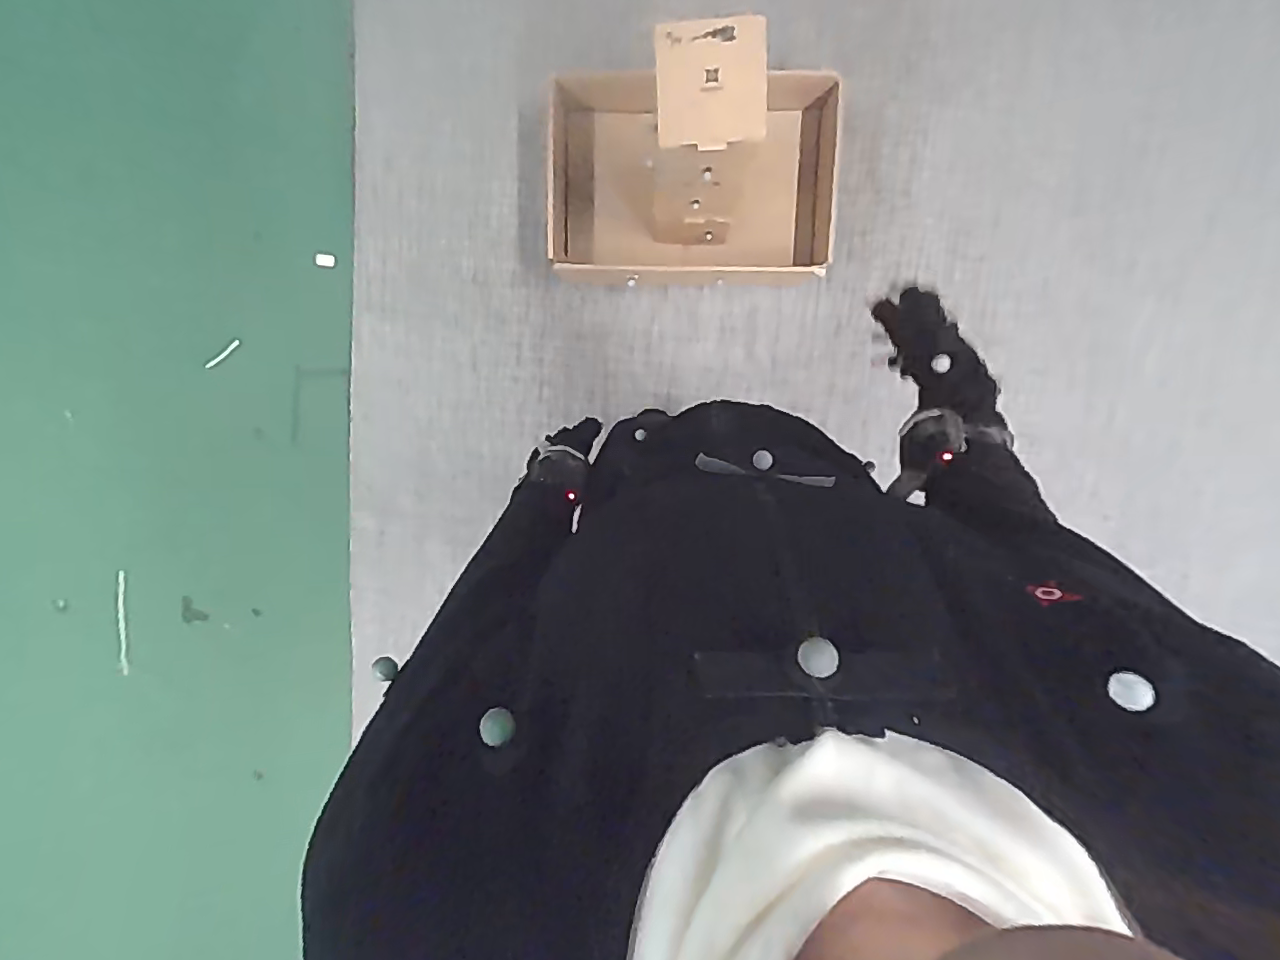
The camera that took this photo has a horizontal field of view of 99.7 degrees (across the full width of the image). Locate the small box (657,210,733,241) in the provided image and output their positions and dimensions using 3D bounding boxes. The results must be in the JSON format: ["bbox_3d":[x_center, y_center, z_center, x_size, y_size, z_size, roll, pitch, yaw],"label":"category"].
[{"bbox_3d":[0.125,-0.650,1.214,0.168,0.176,0.179,3,97,2],"label":"small box"}]

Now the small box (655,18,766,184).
[{"bbox_3d":[0.110,-0.606,0.891,0.168,0.176,0.179,-1,98,3],"label":"small box"}]

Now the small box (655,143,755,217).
[{"bbox_3d":[0.121,-0.626,1.053,0.179,0.176,0.168,-2,98,1],"label":"small box"}]
